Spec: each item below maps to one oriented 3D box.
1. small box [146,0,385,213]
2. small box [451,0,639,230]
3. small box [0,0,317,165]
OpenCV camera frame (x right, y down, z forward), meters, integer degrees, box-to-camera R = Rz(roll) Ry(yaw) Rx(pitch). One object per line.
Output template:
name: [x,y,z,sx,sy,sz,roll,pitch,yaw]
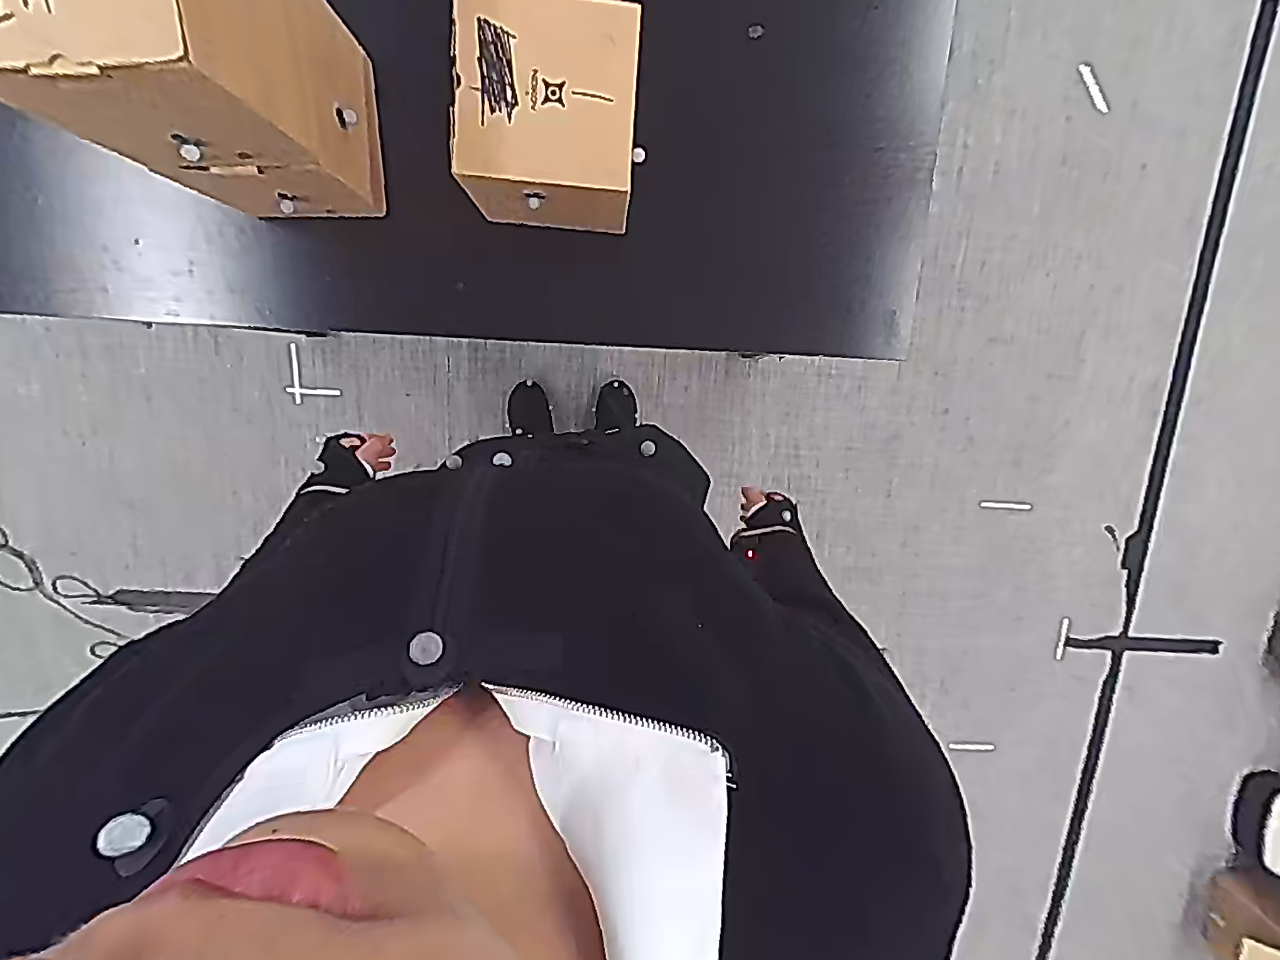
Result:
small box: [-0.396,-0.400,0.585,0.168,0.176,0.179,-2,101,-3]
small box: [-0.098,-0.391,0.602,0.179,0.176,0.168,4,101,-4]
small box: [-0.386,-0.373,0.421,0.168,0.176,0.179,-3,101,-2]
